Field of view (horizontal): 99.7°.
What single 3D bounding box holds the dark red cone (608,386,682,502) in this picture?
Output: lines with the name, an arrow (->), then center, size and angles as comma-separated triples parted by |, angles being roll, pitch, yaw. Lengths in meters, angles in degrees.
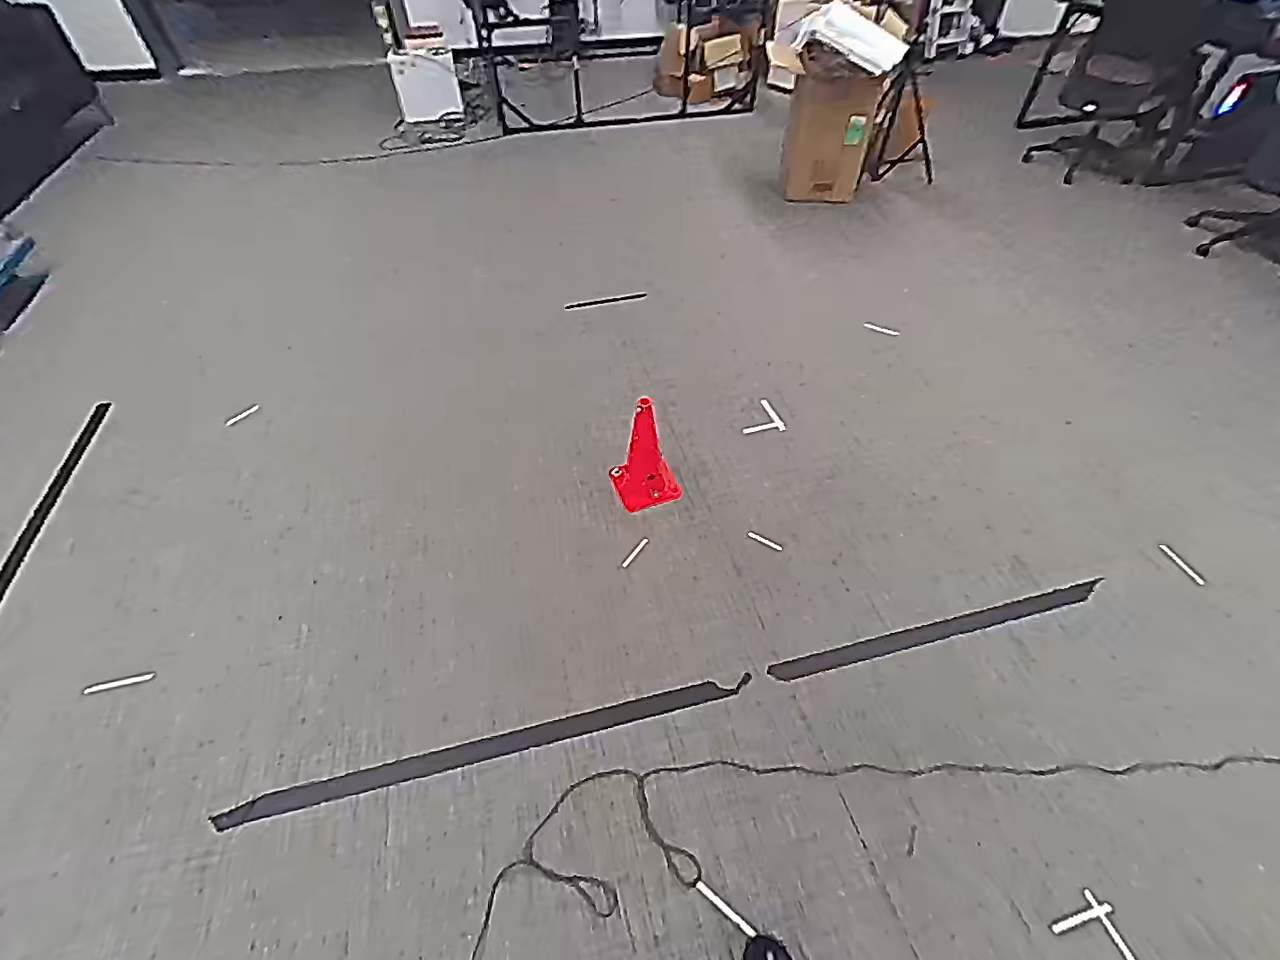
dark red cone -> 0.014, -0.122, 1.643 | 0.202, 0.394, 0.201 | -18, 52, -14
